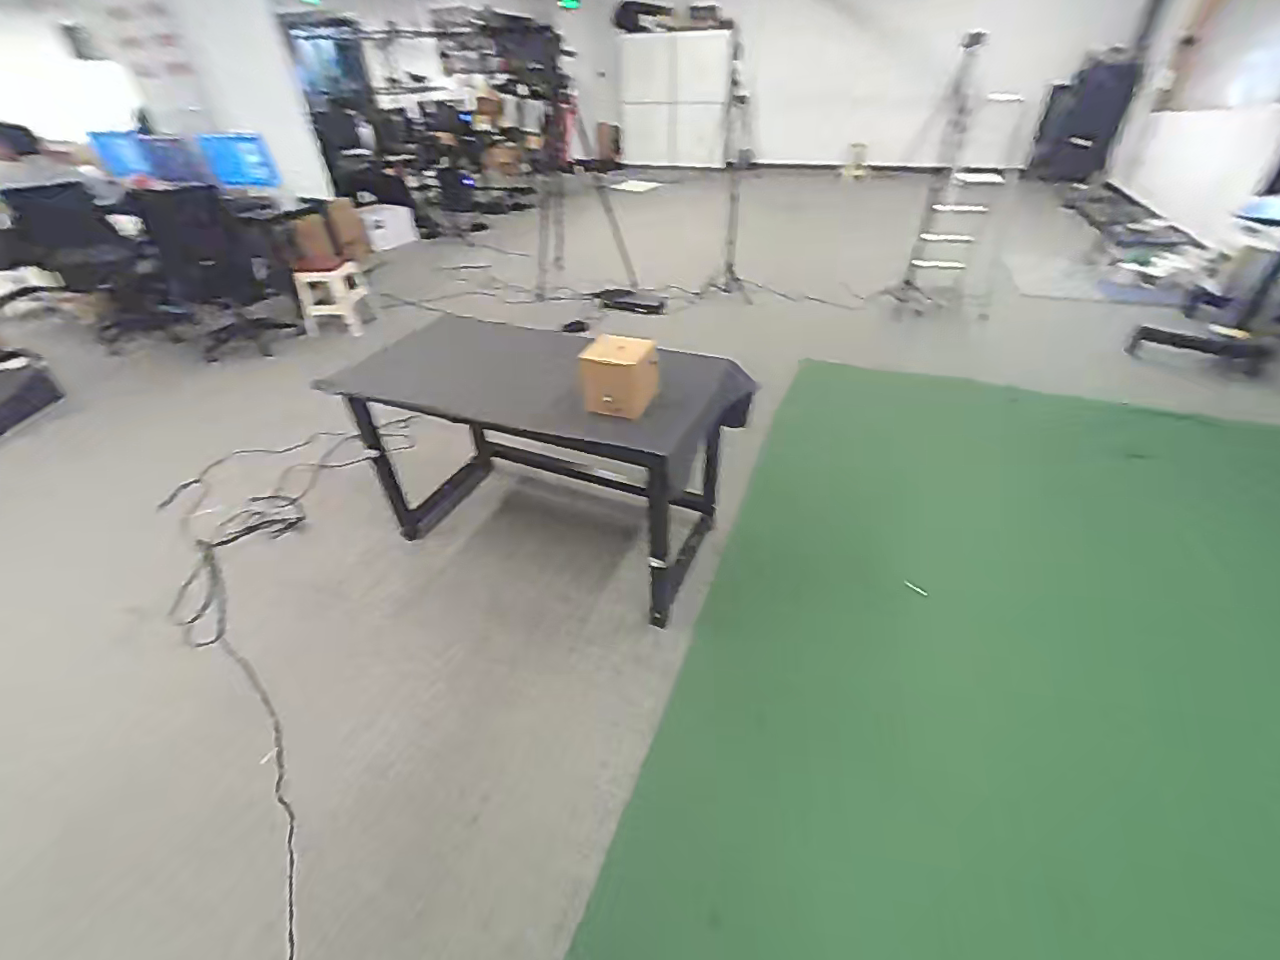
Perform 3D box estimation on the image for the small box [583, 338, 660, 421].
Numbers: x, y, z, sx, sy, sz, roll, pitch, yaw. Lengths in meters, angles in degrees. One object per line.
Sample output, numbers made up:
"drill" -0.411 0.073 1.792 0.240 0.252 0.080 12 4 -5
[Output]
"small box" -0.048 -0.292 1.560 0.168 0.176 0.179 11 39 19
